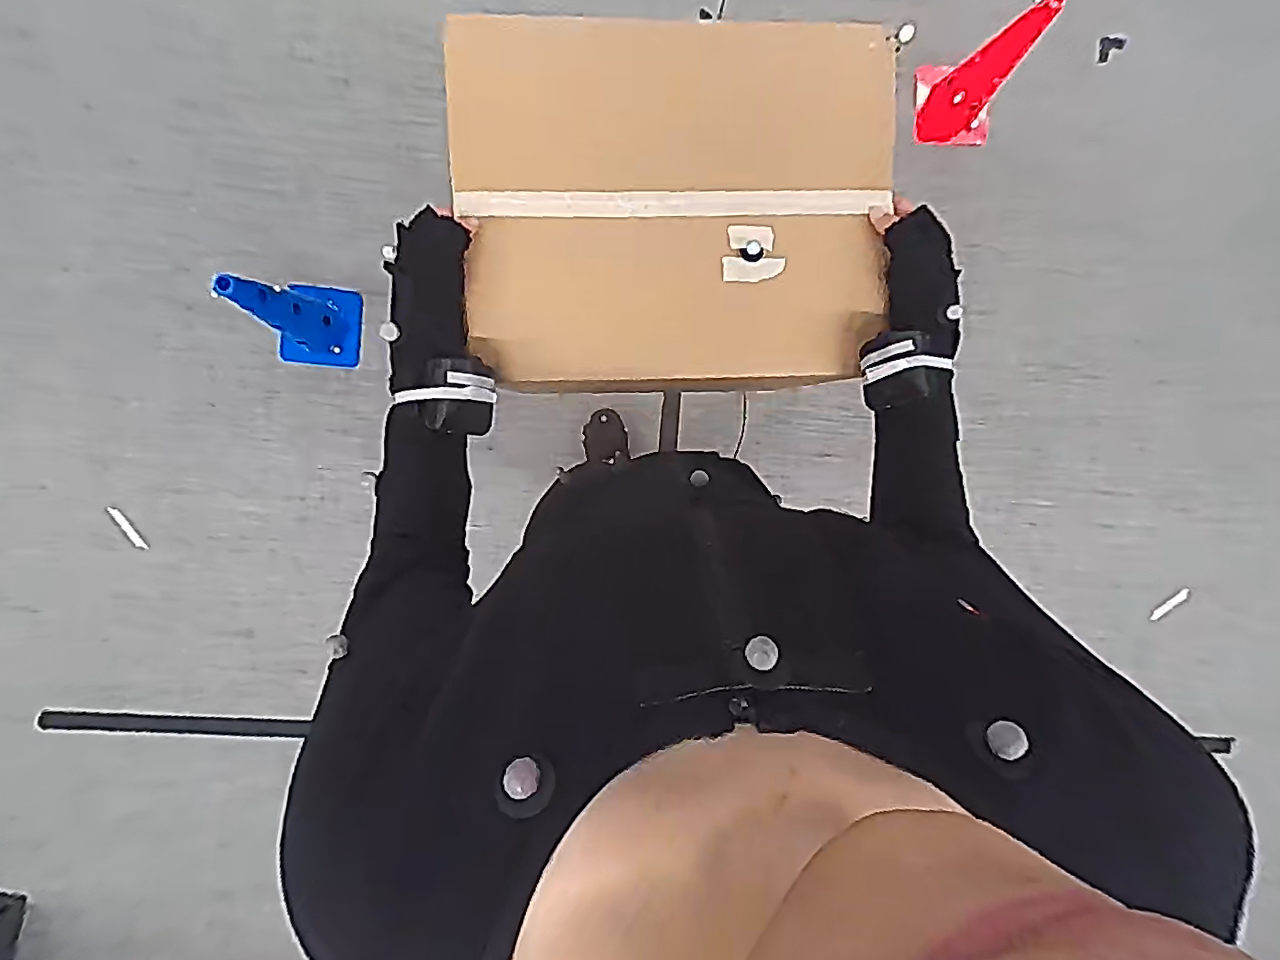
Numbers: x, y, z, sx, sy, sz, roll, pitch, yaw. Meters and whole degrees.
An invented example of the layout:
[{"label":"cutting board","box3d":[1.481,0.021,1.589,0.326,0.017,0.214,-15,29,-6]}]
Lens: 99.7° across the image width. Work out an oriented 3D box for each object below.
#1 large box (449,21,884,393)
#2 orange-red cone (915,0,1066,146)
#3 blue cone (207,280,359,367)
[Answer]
[{"label":"large box","box3d":[0.021,-0.274,0.651,0.408,0.320,0.320,-2,97,-4]},{"label":"orange-red cone","box3d":[0.849,-1.003,1.288,0.198,0.360,0.199,1,92,-4]},{"label":"blue cone","box3d":[-0.830,-0.385,1.248,0.192,0.380,0.193,7,92,-2]}]
